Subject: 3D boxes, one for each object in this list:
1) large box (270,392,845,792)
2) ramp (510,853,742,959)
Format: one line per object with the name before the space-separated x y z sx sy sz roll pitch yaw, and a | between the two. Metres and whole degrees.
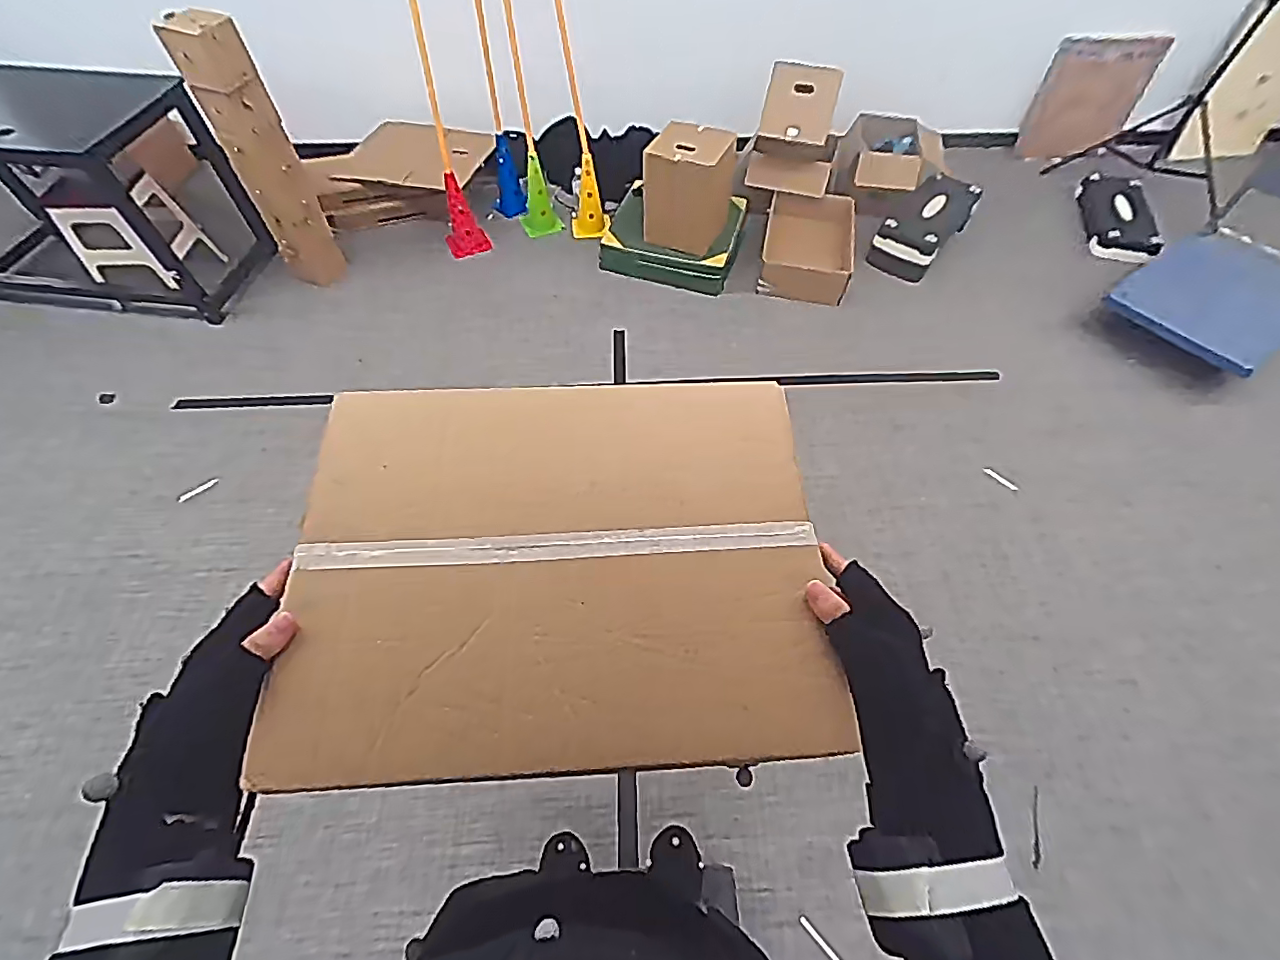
large box | -0.063 0.128 0.570 0.408 0.320 0.320 -2 62 -3
ramp | -0.013 1.301 1.006 0.509 0.206 0.991 -3 57 -4
